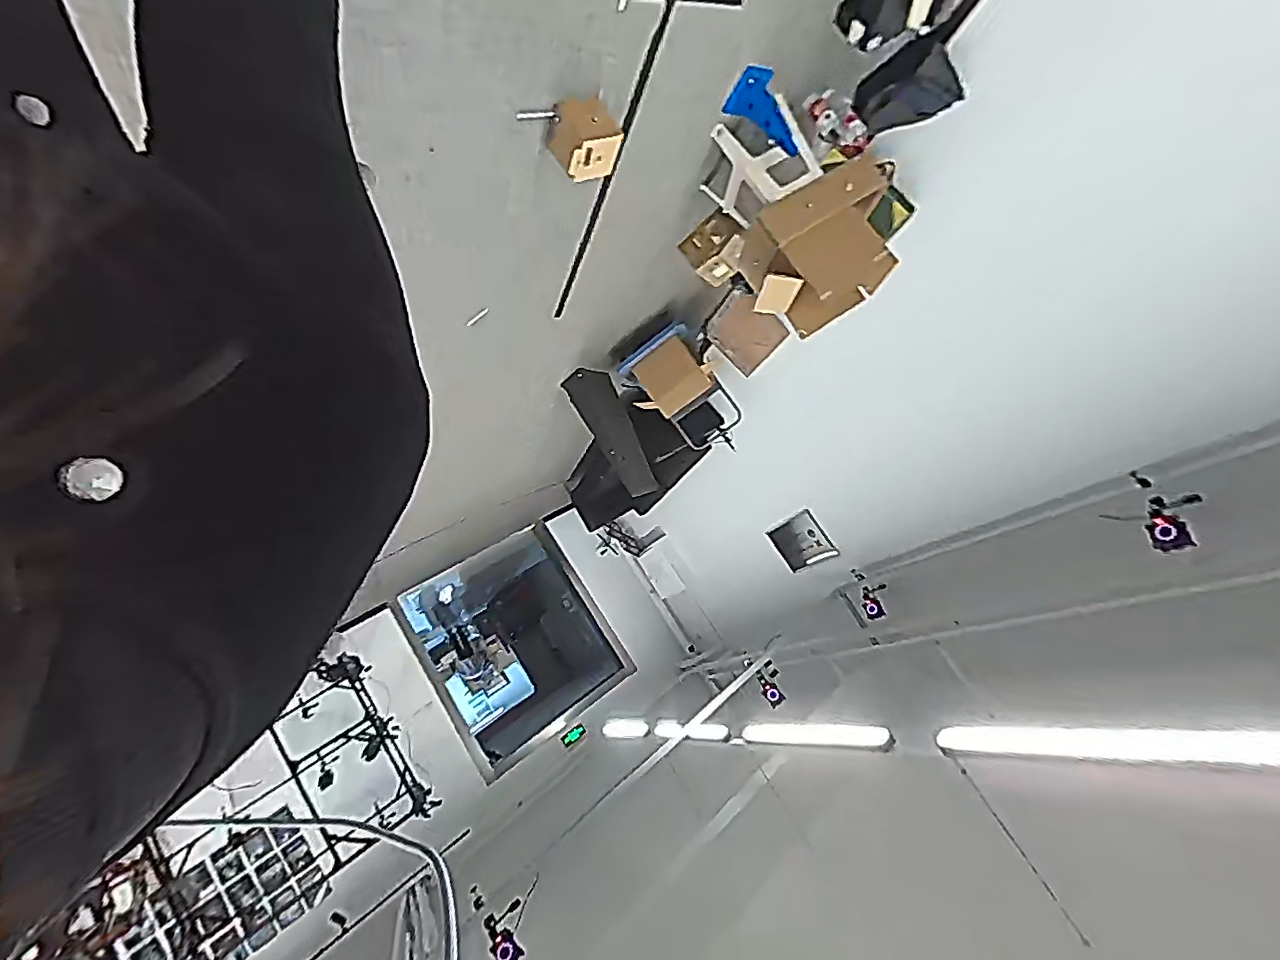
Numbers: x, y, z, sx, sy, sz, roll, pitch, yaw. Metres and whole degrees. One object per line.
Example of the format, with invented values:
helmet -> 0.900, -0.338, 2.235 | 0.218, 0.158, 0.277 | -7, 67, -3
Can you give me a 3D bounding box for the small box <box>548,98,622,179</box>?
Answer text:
small box -> -0.199, -1.198, 1.892 | 0.179, 0.176, 0.168 | -30, 171, -29
